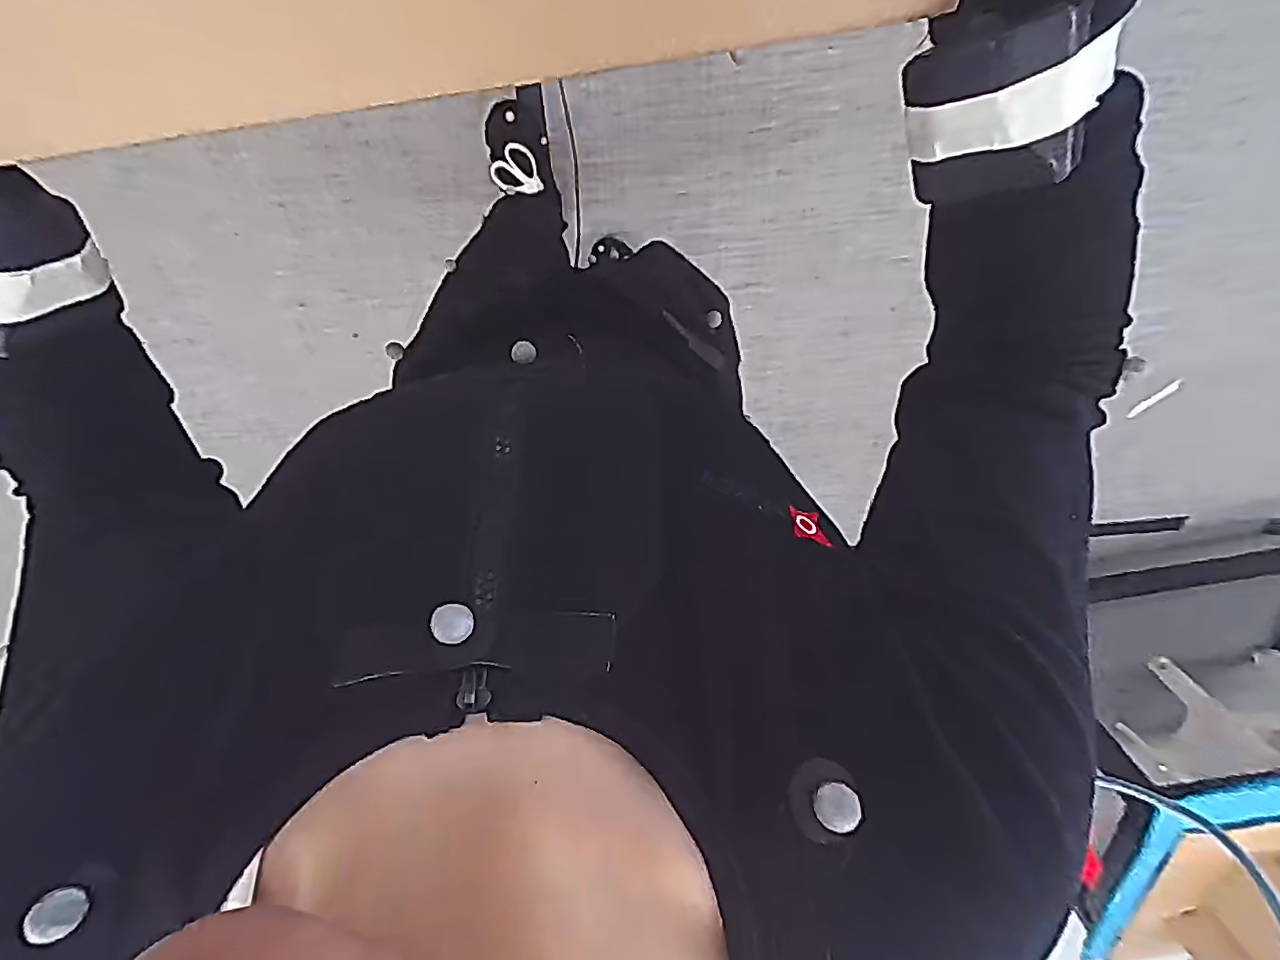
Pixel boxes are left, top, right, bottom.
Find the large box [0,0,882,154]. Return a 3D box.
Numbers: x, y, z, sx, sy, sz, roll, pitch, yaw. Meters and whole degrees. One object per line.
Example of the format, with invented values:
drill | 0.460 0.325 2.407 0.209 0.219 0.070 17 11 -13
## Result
large box | -0.107 -0.377 0.204 0.408 0.320 0.320 -7 138 2
